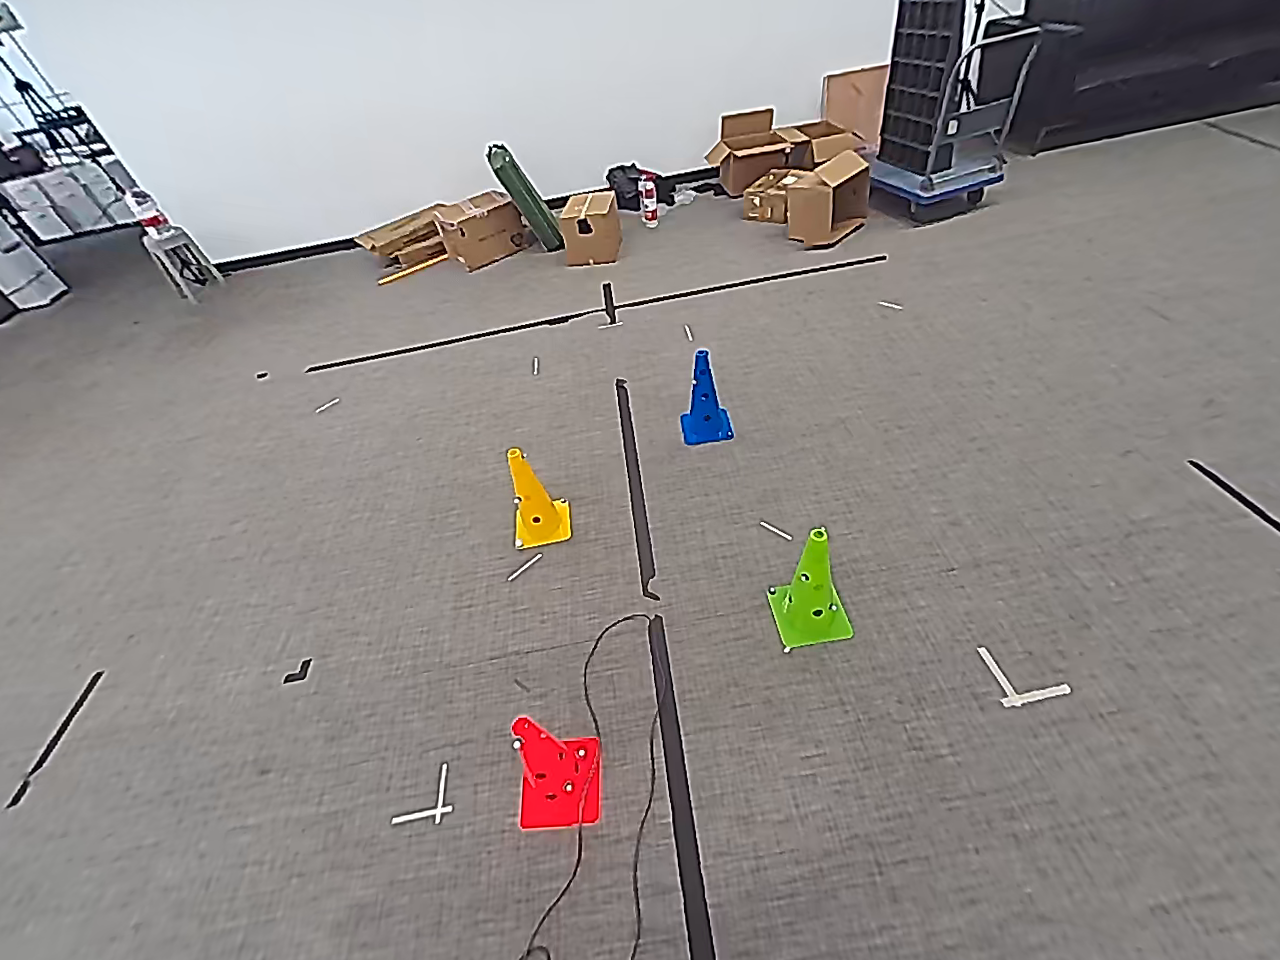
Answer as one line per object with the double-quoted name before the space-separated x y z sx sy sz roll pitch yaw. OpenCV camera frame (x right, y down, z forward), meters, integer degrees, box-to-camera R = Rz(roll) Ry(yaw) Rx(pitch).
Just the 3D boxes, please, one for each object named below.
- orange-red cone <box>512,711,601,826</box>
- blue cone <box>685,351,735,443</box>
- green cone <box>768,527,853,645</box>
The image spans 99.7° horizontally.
"orange-red cone" -0.223 0.623 1.231 0.199 0.360 0.198 -8 43 5
"blue cone" 0.267 -0.335 2.126 0.192 0.380 0.193 -7 44 3
"green cone" 0.471 0.261 1.456 0.202 0.368 0.200 -9 44 0
